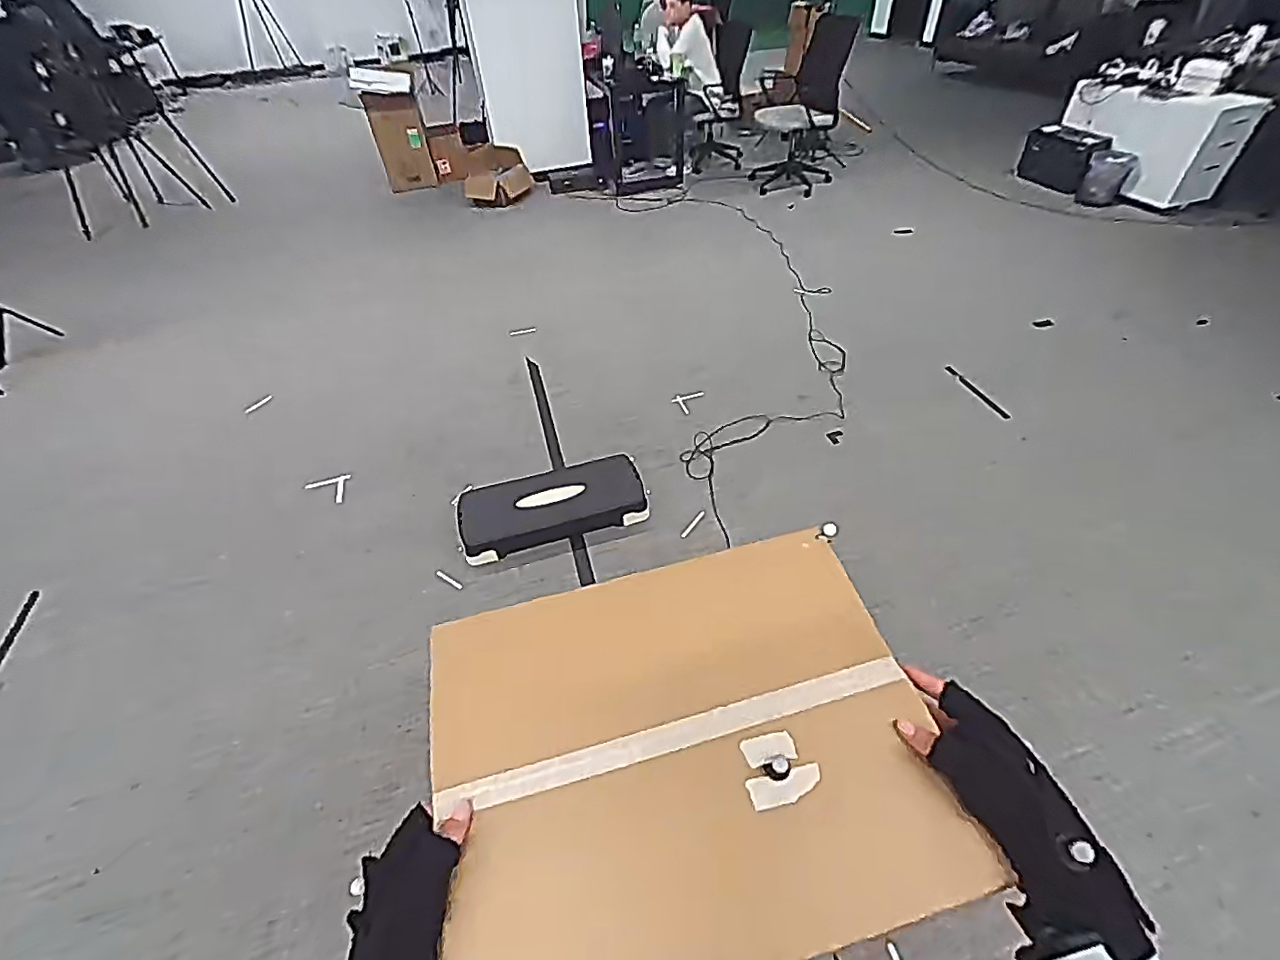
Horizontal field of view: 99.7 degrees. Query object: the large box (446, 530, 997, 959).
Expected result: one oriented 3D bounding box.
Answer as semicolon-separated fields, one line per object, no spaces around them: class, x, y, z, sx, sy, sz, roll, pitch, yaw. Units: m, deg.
large box;0.045;0.307;0.581;0.408;0.320;0.320;-14;52;-7
